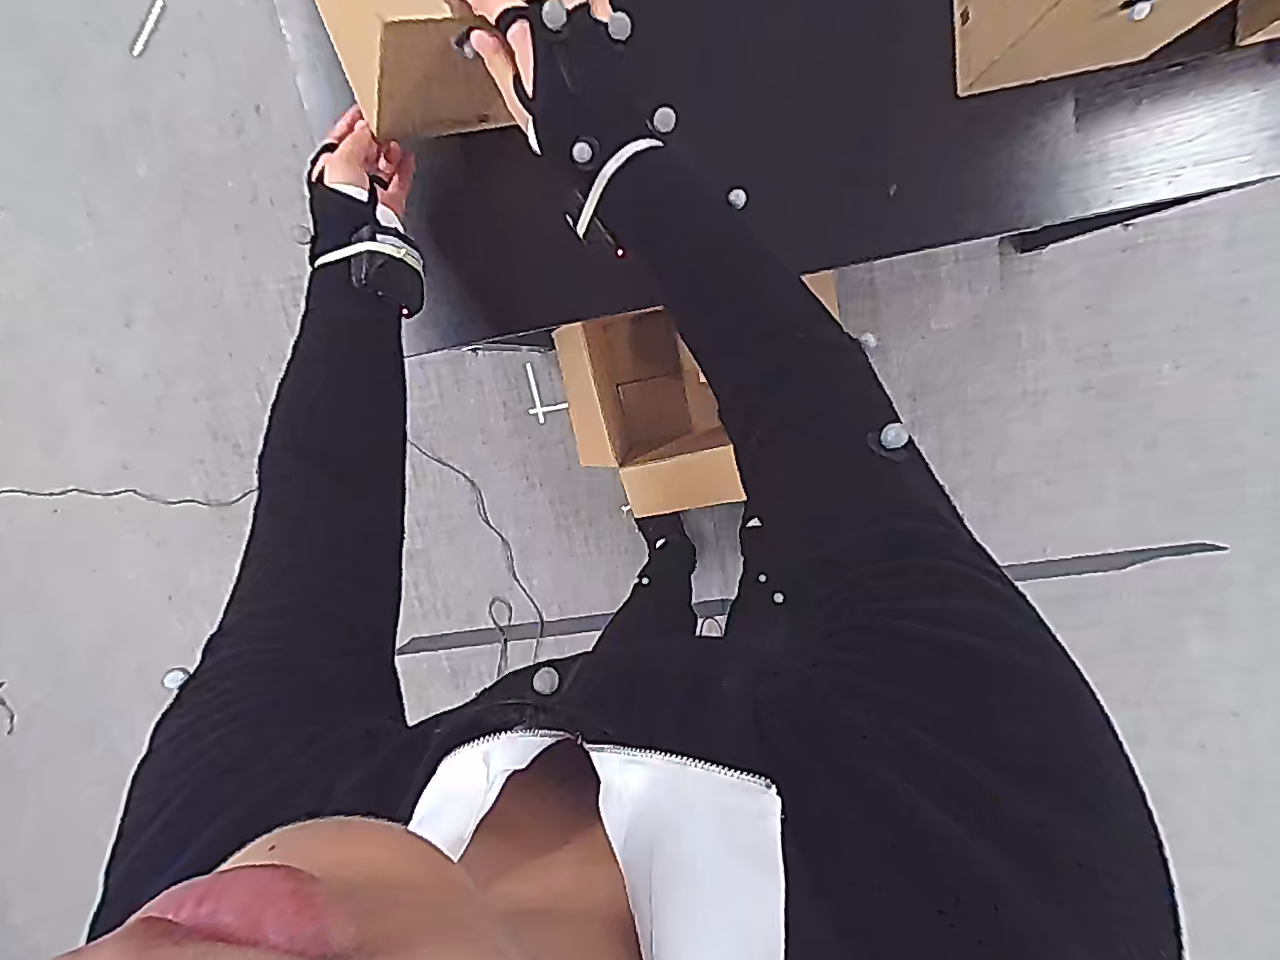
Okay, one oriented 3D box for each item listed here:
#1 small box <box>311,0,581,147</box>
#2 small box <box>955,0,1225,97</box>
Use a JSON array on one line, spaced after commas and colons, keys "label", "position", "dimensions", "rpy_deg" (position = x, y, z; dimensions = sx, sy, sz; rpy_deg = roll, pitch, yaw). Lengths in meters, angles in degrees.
[{"label": "small box", "position": [-0.177, -0.419, 0.451], "dimensions": [0.168, 0.176, 0.179], "rpy_deg": [-25, 102, -24]}, {"label": "small box", "position": [0.380, -0.450, 0.440], "dimensions": [0.179, 0.176, 0.168], "rpy_deg": [-8, 102, 5]}]
